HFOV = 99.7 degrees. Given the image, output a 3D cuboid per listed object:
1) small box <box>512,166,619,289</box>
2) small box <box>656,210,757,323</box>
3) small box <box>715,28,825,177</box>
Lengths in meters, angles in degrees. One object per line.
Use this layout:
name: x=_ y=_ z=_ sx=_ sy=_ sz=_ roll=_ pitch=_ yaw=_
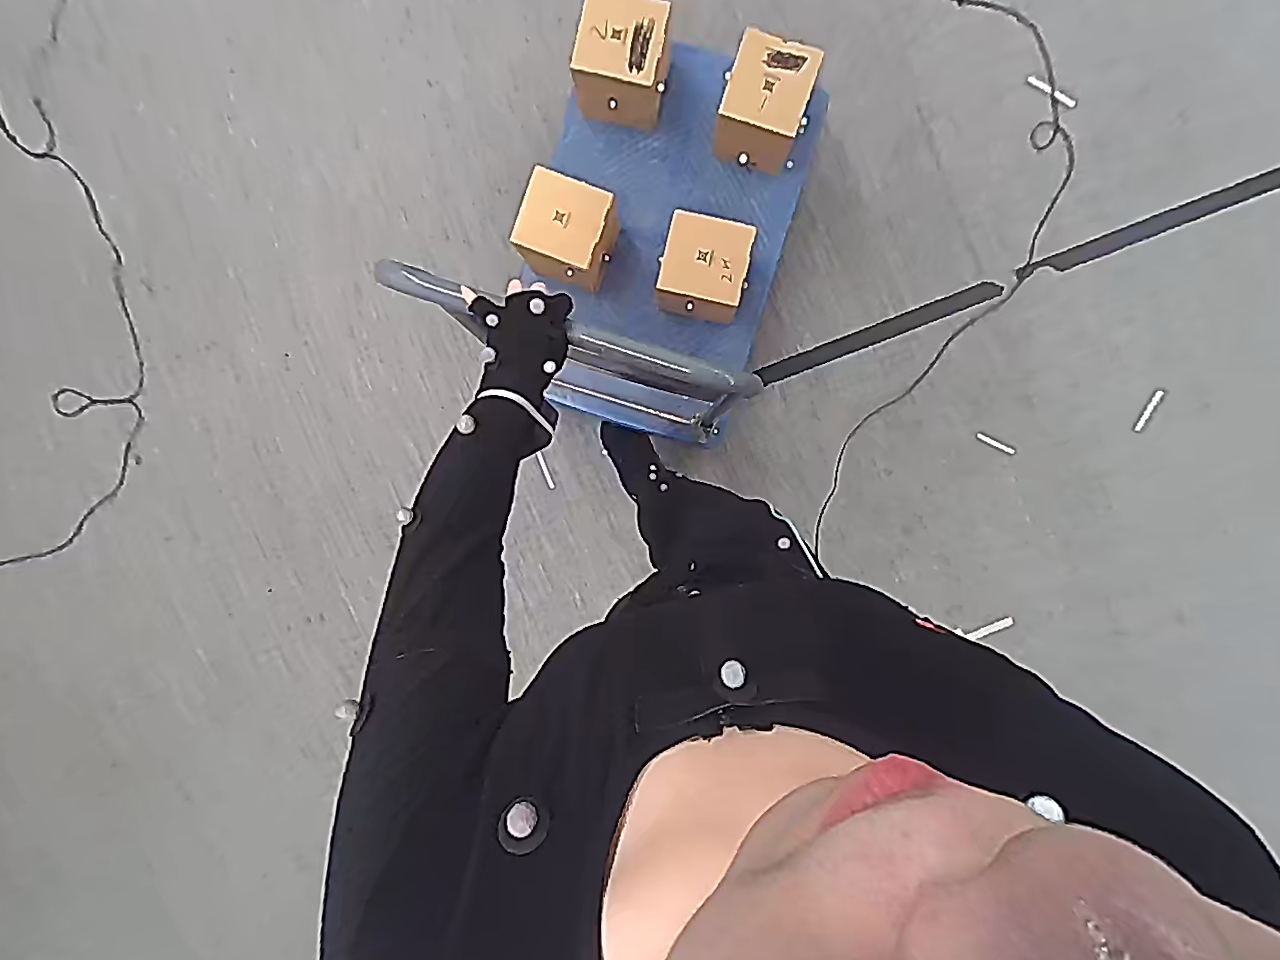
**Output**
small box: x=-0.157 y=-0.544 z=1.193 sx=0.179 sy=0.176 sz=0.168 roll=21 pitch=94 yaw=0
small box: x=0.140 y=-0.456 z=1.184 sx=0.179 sy=0.176 sz=0.168 roll=14 pitch=94 yaw=2
small box: x=0.268 y=-0.797 z=1.158 sx=0.168 sy=0.176 sz=0.179 roll=19 pitch=95 yaw=1
